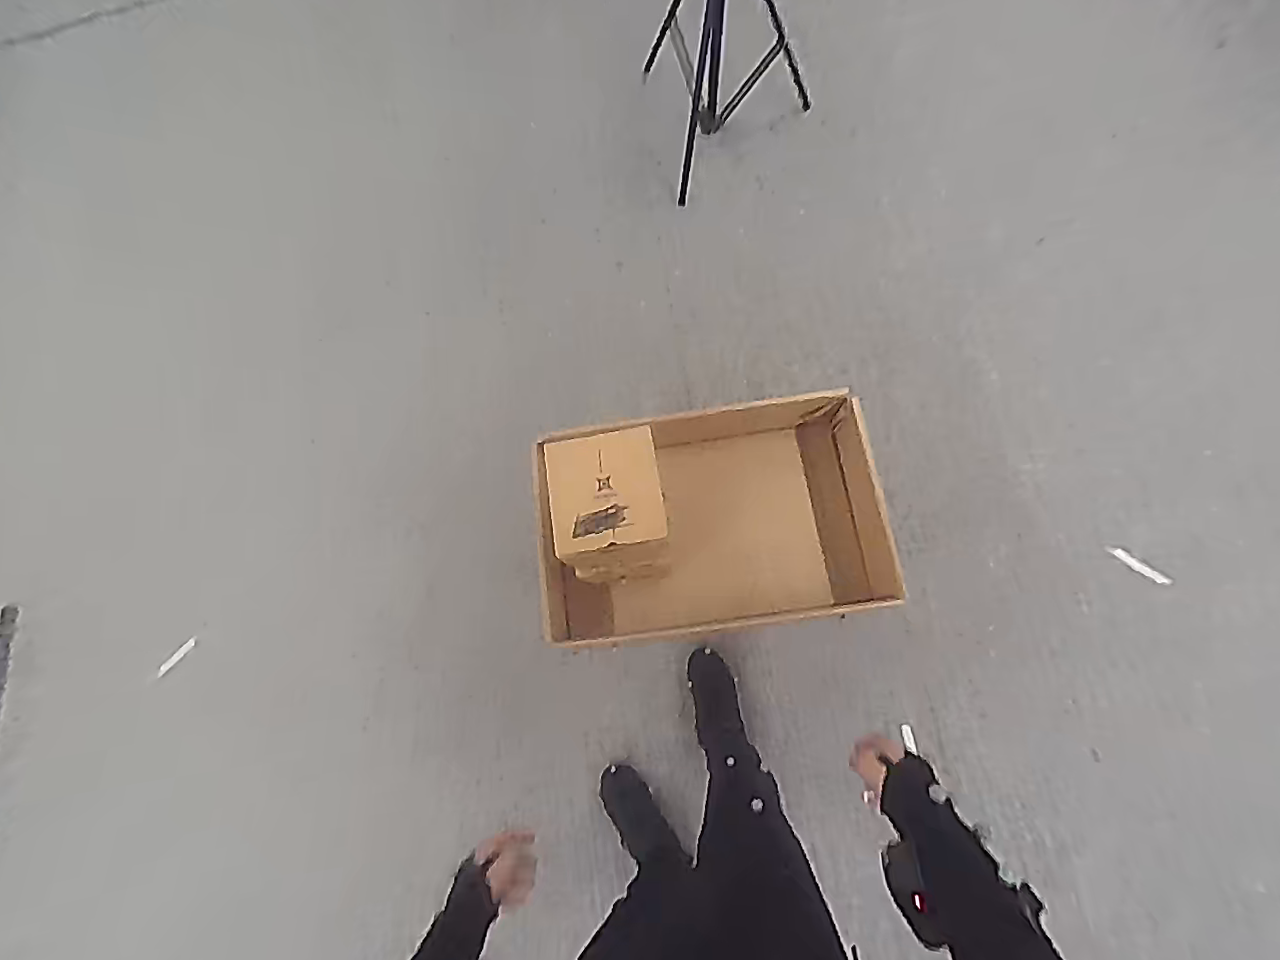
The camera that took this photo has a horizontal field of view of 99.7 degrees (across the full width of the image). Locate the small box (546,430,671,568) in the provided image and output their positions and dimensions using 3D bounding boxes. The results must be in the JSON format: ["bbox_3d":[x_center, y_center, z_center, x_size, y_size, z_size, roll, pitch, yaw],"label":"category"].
[{"bbox_3d":[-0.043,0.041,0.864,0.168,0.176,0.179,-10,73,2],"label":"small box"}]

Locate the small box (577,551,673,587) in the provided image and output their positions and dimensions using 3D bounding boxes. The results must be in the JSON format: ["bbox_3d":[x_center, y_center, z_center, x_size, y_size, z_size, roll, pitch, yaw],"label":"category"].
[{"bbox_3d":[-0.032,0.098,1.018,0.168,0.176,0.179,-10,74,2],"label":"small box"}]
